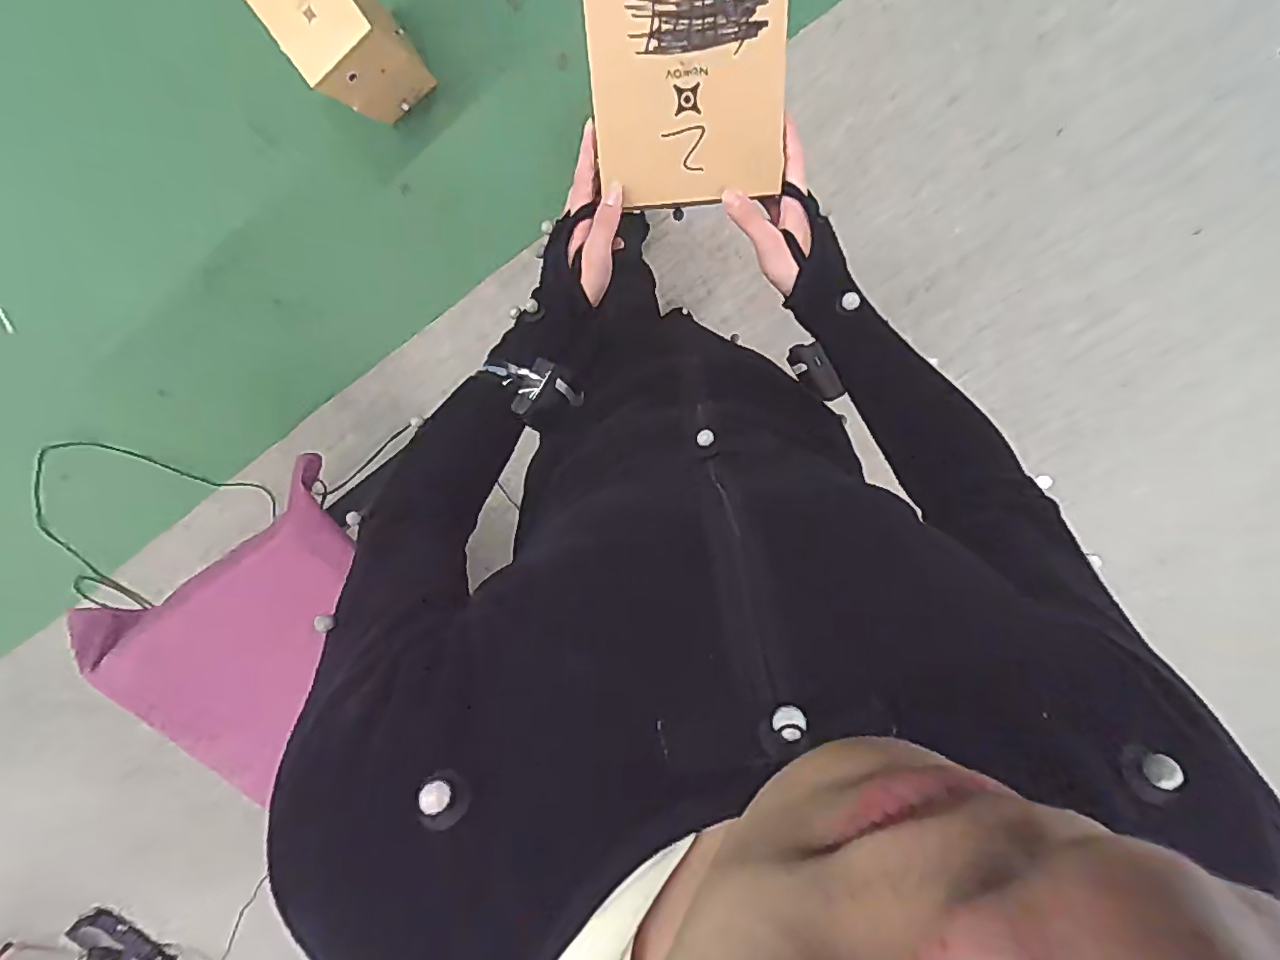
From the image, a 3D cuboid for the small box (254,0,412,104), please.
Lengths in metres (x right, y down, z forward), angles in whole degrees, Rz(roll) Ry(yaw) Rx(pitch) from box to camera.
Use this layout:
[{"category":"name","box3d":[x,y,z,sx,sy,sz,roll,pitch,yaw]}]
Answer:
[{"category":"small box","box3d":[-0.592,-0.886,1.069,0.168,0.176,0.179,-32,106,14]}]

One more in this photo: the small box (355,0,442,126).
[{"category":"small box","box3d":[-0.588,-0.944,1.219,0.168,0.176,0.179,-31,108,14]}]
